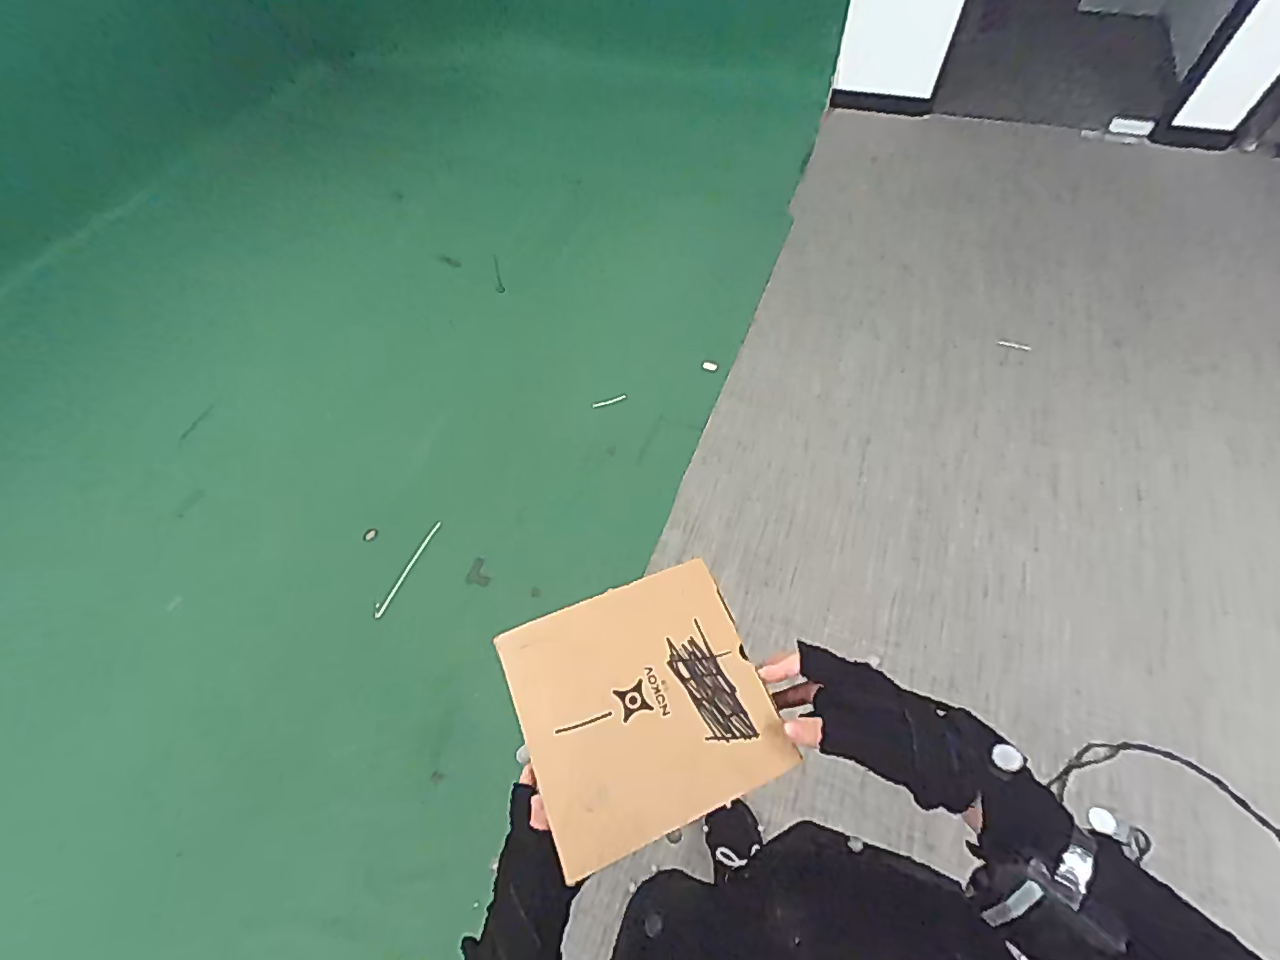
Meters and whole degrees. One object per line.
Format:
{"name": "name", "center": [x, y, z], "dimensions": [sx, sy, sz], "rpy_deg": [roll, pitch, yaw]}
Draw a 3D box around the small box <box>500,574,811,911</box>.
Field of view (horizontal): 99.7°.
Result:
{"name": "small box", "center": [0.000, 0.203, 0.444], "dimensions": [0.179, 0.176, 0.168], "rpy_deg": [-18, 64, -15]}
